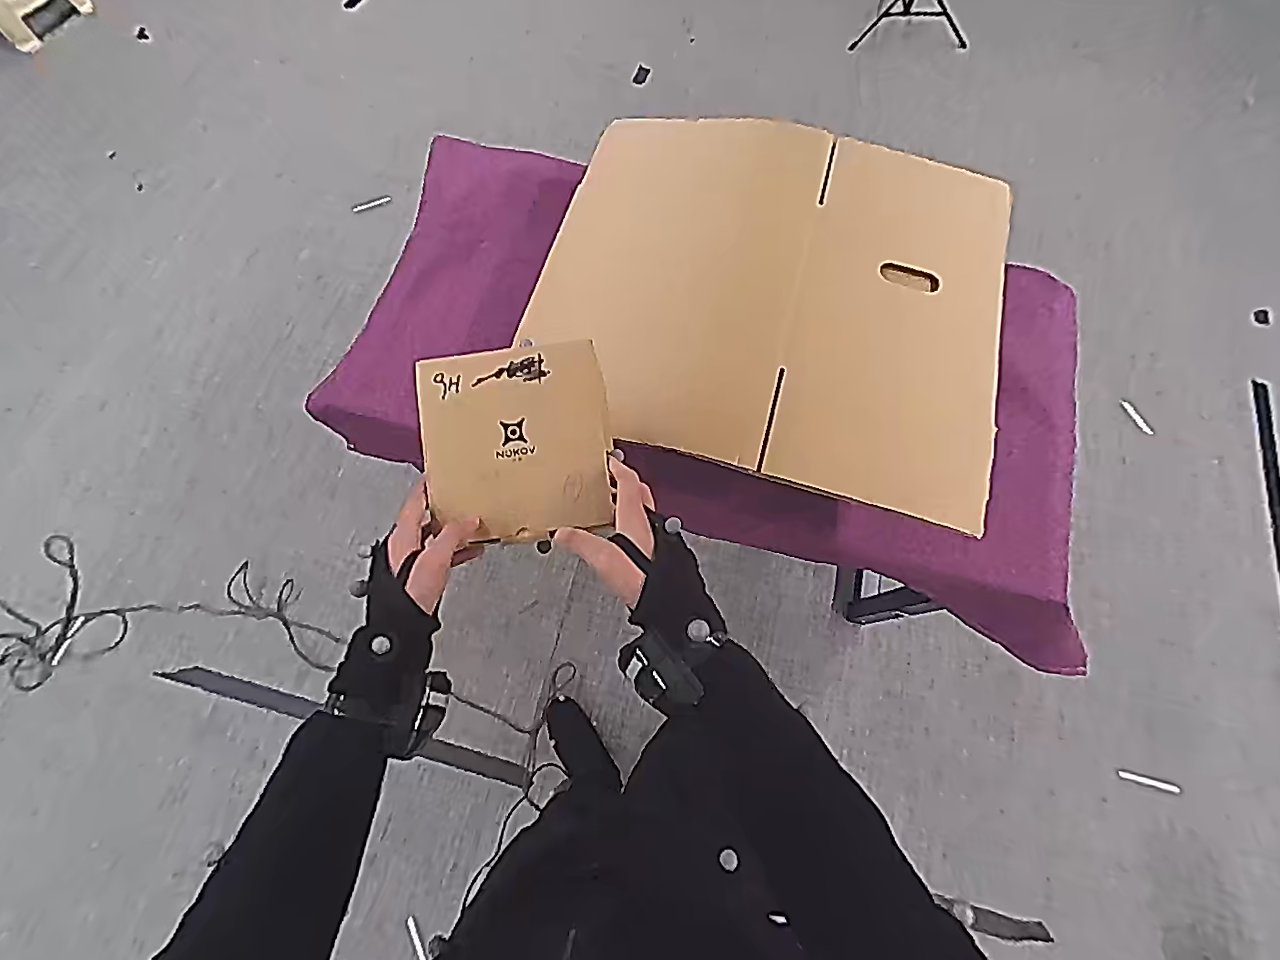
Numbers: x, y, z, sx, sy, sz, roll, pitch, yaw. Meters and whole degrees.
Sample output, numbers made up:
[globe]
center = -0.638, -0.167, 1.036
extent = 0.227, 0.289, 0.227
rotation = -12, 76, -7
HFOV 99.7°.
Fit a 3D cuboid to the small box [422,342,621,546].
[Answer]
[small box]
center = -0.112, -0.028, 0.575
extent = 0.168, 0.176, 0.179
rotation = -7, 85, 0
